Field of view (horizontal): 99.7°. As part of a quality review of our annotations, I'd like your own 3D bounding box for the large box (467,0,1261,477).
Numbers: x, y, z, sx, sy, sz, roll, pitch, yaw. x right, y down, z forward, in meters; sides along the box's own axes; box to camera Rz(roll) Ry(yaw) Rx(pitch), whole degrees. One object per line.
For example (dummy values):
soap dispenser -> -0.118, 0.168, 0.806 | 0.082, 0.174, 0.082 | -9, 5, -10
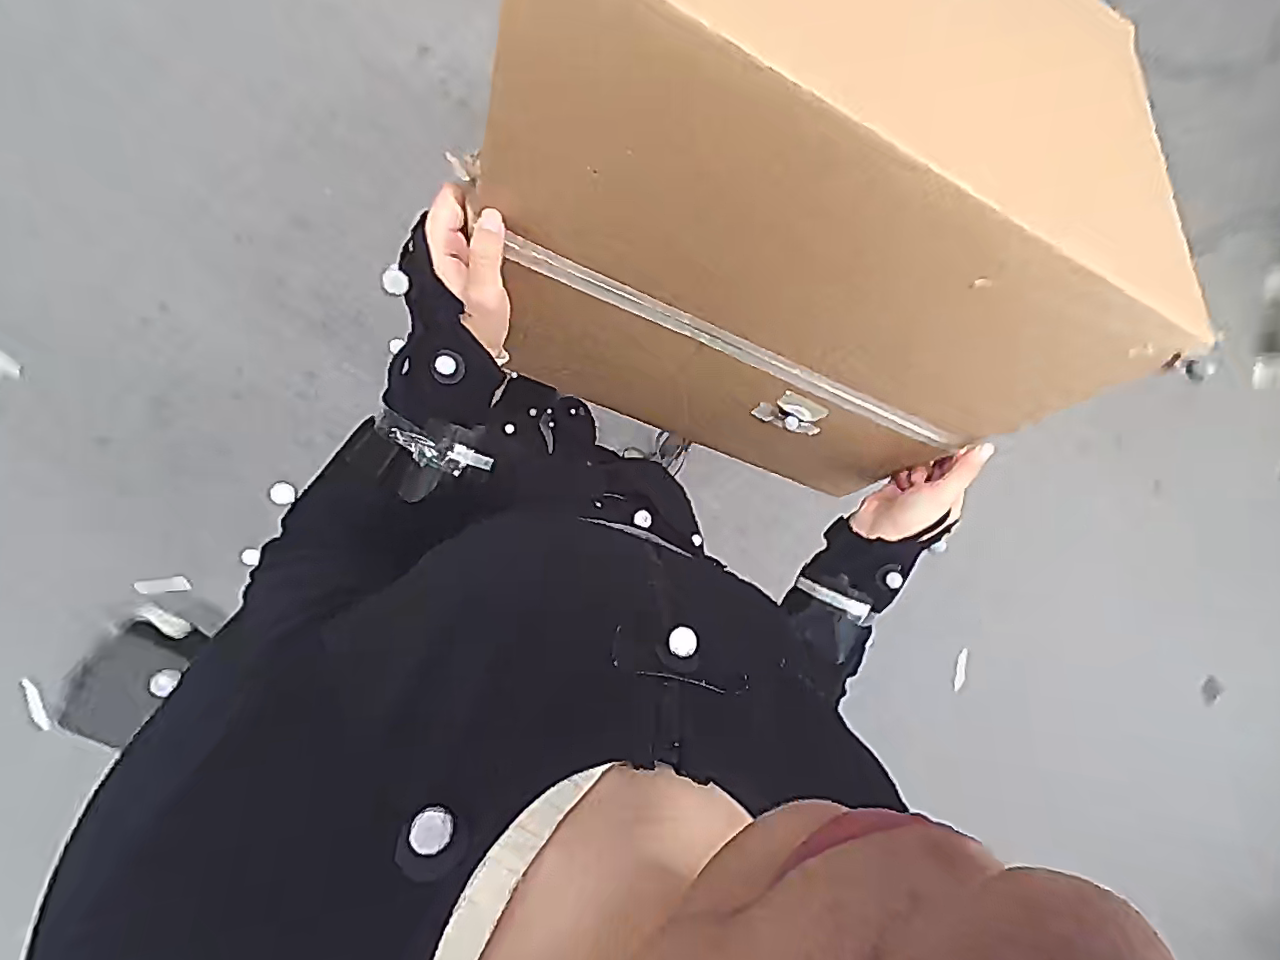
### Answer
large box -> 0.114, -0.241, 0.420 | 0.408, 0.320, 0.320 | 18, 68, -16
